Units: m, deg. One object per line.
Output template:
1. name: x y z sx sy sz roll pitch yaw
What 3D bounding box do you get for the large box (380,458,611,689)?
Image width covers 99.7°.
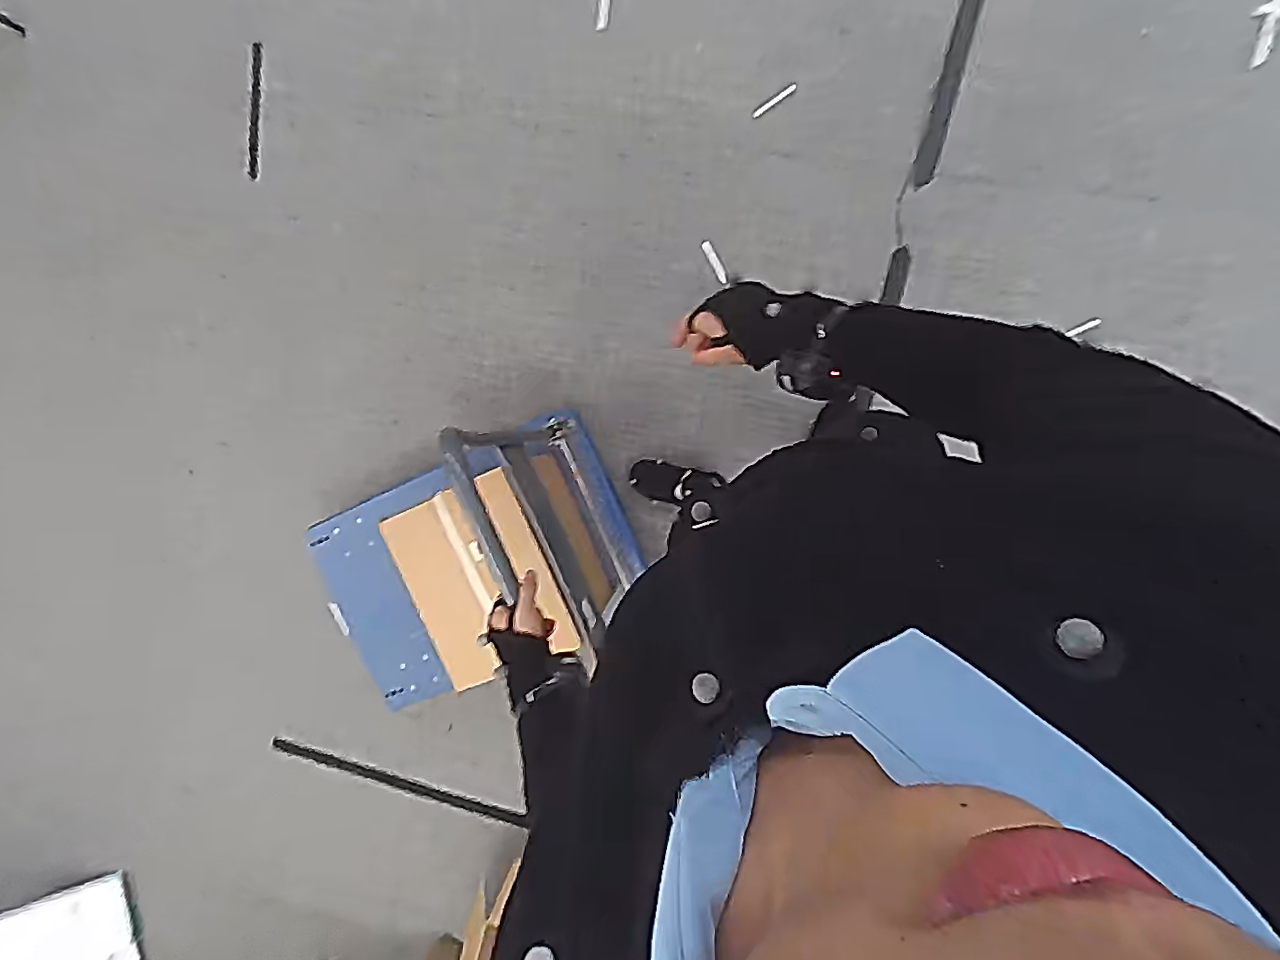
1. large box: -0.312 0.198 1.270 0.320 0.320 0.408 -23 93 11
